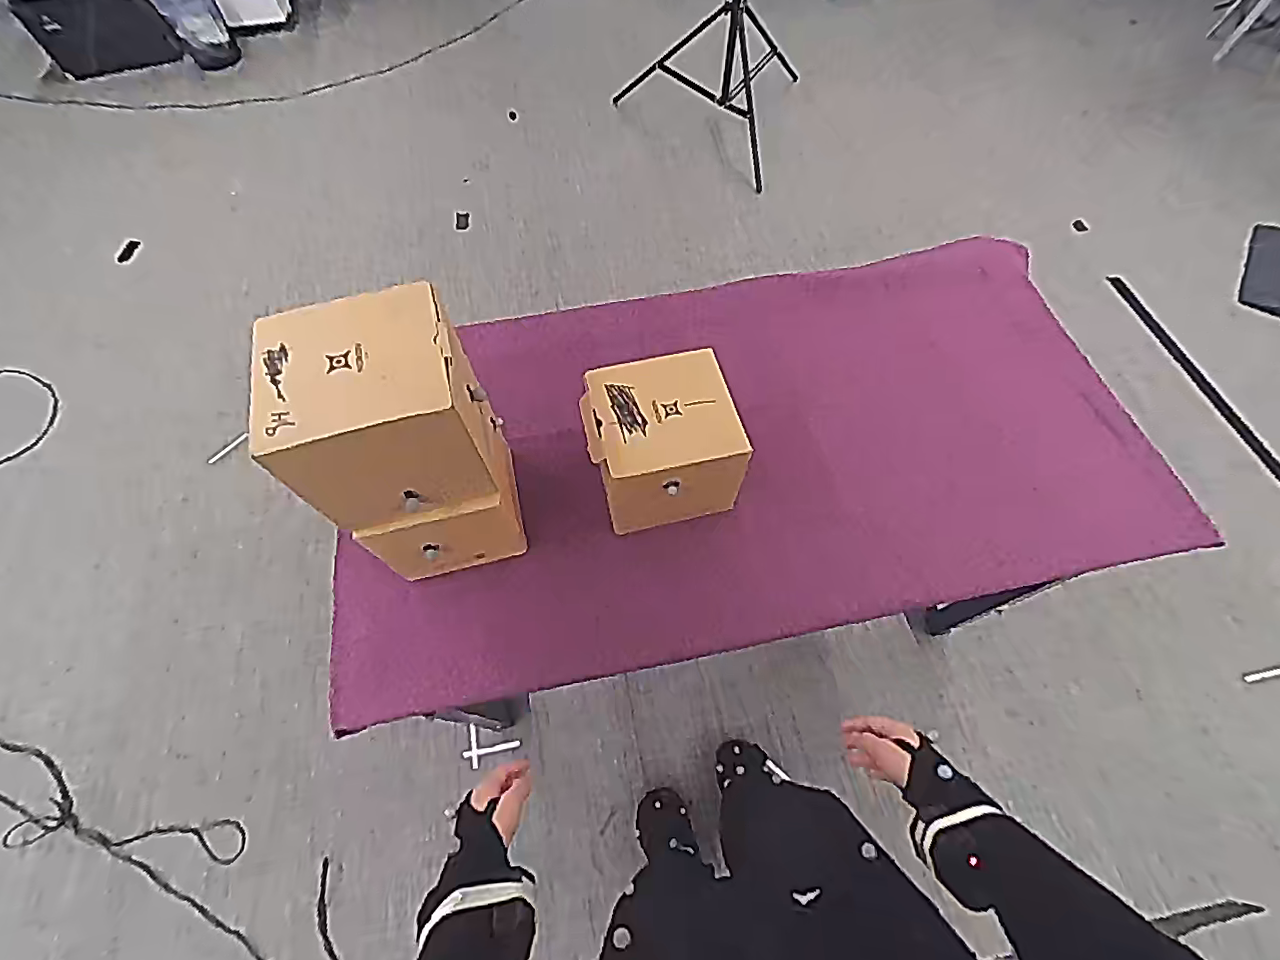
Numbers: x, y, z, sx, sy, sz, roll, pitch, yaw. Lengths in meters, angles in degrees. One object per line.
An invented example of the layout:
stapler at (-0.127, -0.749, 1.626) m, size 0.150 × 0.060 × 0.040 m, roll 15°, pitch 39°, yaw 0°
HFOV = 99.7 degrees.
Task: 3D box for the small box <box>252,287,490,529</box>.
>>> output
small box at (-0.267, -0.069, 0.573) m, size 0.179 × 0.176 × 0.168 m, roll -15°, pitch 63°, yaw -8°

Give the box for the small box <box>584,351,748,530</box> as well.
small box at (0.030, -0.046, 0.742) m, size 0.179 × 0.176 × 0.168 m, roll -12°, pitch 63°, yaw -6°

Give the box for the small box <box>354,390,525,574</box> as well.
small box at (-0.258, 0.012, 0.715) m, size 0.168 × 0.176 × 0.179 m, roll -14°, pitch 63°, yaw -6°
